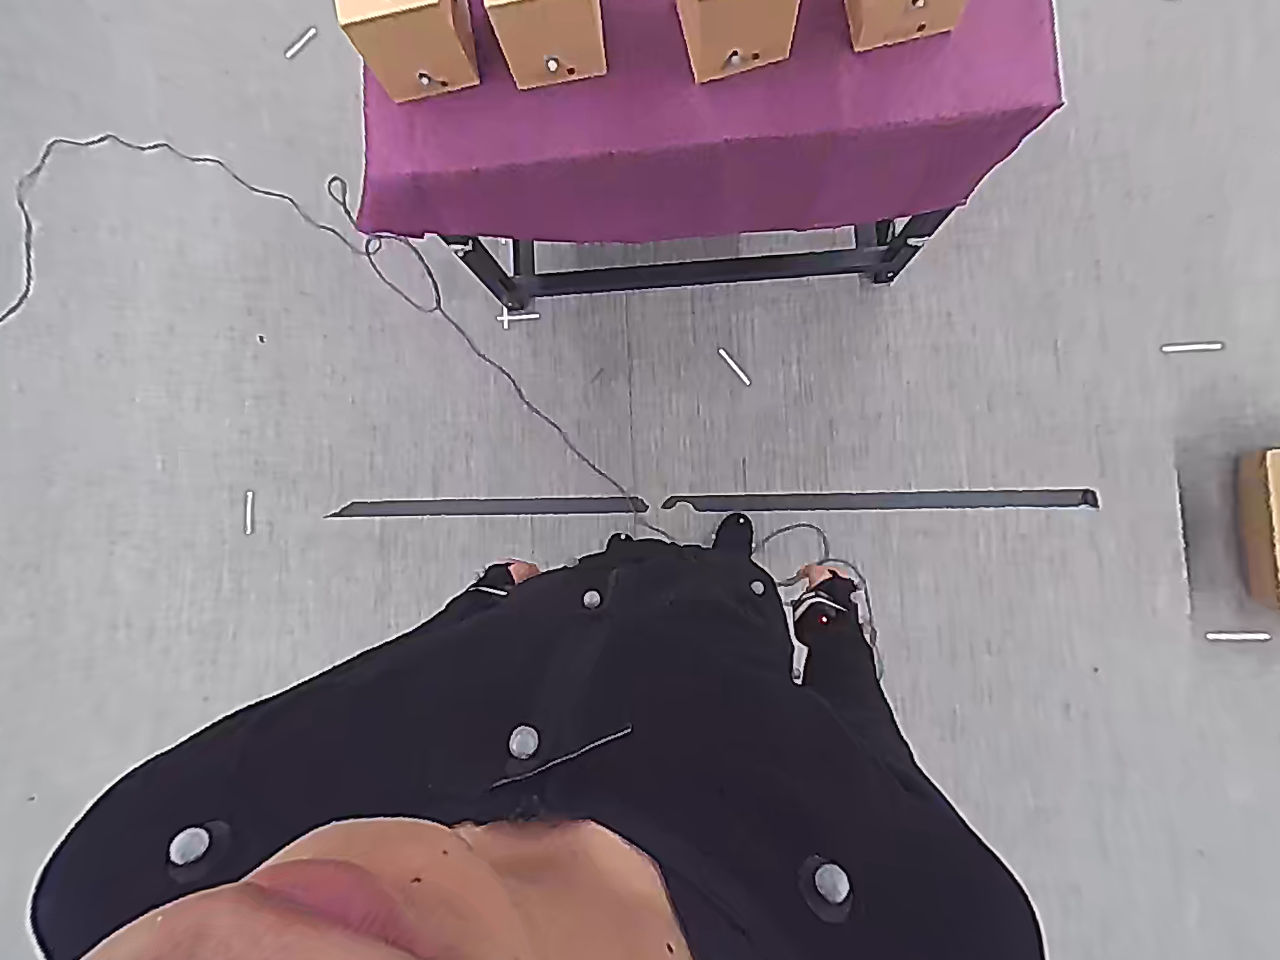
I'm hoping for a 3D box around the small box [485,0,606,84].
[{"bbox_3d":[-0.155,-0.802,0.883,0.168,0.176,0.179,-7,87,6],"label":"small box"}]

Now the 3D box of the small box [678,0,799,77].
[{"bbox_3d":[0.150,-0.797,0.853,0.168,0.176,0.179,-13,86,6],"label":"small box"}]

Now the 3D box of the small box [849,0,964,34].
[{"bbox_3d":[0.423,-0.831,0.824,0.168,0.176,0.179,-9,86,5],"label":"small box"}]
